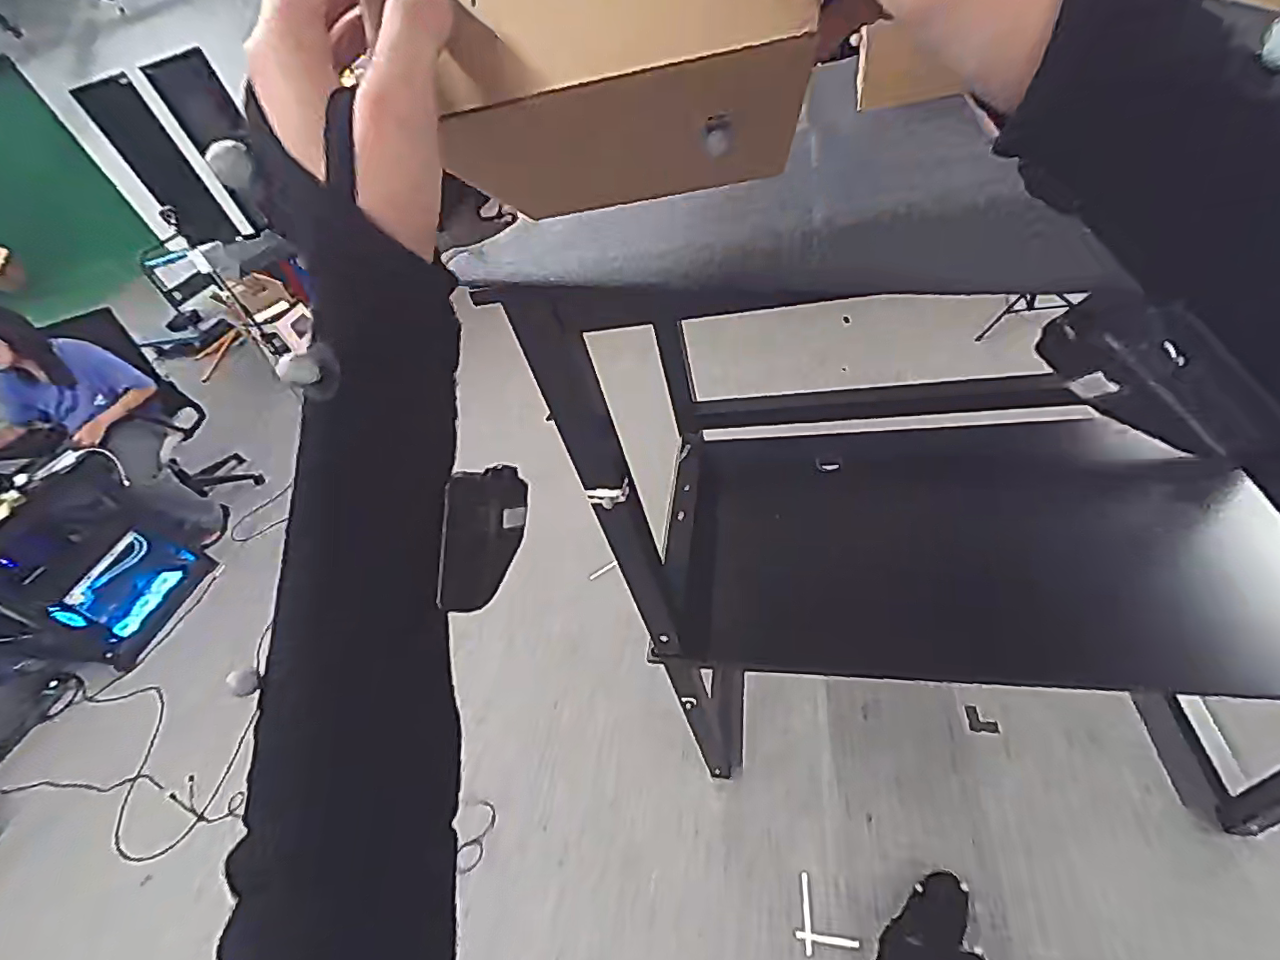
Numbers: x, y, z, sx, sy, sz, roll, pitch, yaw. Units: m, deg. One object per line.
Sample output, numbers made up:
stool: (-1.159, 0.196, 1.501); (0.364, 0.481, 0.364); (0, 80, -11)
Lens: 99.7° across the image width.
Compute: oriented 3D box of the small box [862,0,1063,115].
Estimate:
small box: (0.336, -0.519, 0.573); (0.179, 0.176, 0.168); (1, 47, 20)
